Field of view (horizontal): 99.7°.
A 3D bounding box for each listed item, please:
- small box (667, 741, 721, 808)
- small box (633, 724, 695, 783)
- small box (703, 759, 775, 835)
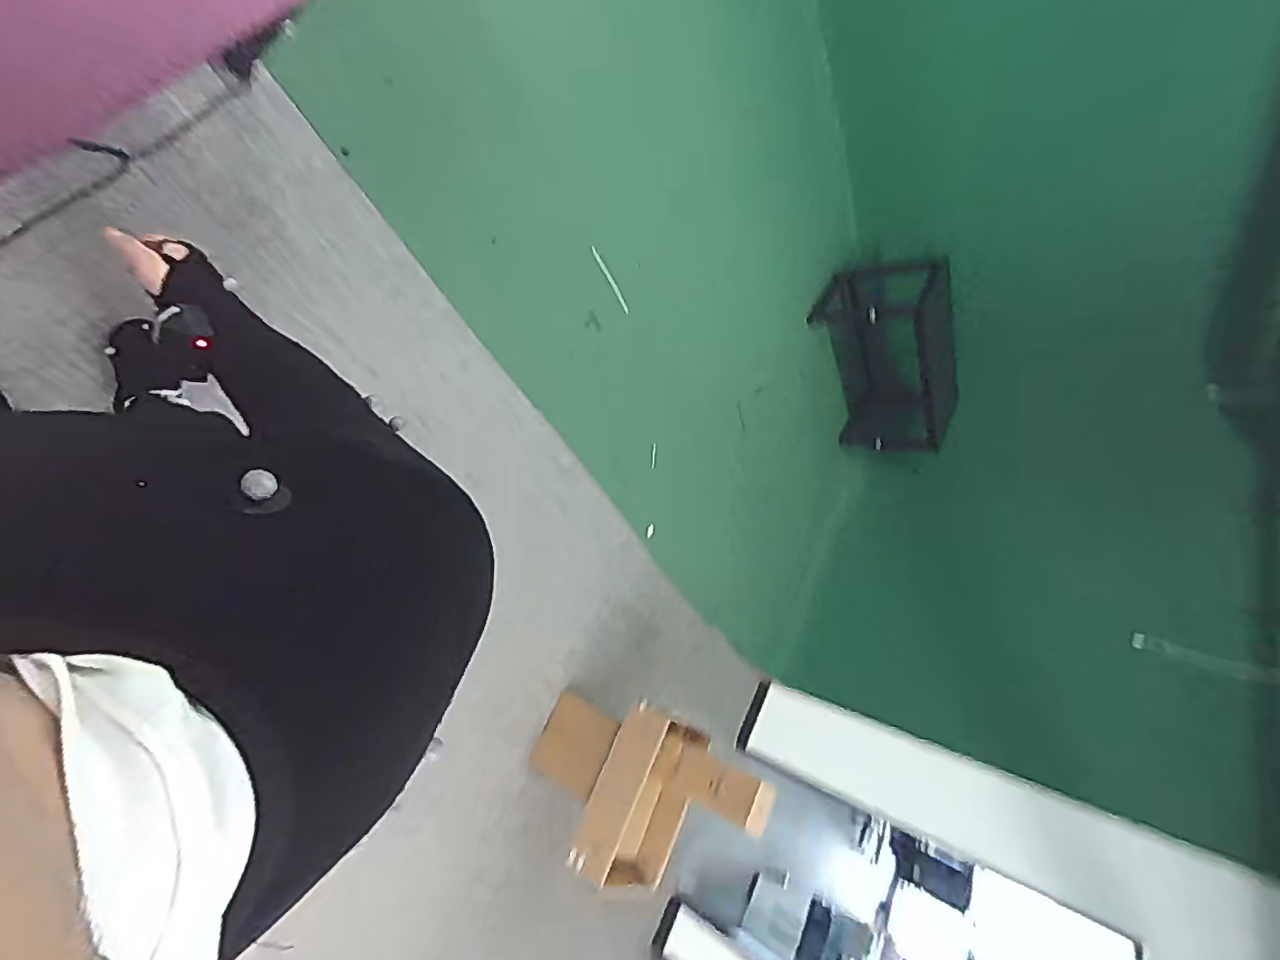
[{"bbox_3d":[0.225,1.110,2.031,0.179,0.176,0.168,52,58,-42],"label":"small box"},{"bbox_3d":[0.100,1.088,2.135,0.179,0.176,0.168,47,61,-44],"label":"small box"},{"bbox_3d":[0.353,1.127,1.931,0.179,0.176,0.168,53,57,-41],"label":"small box"}]
